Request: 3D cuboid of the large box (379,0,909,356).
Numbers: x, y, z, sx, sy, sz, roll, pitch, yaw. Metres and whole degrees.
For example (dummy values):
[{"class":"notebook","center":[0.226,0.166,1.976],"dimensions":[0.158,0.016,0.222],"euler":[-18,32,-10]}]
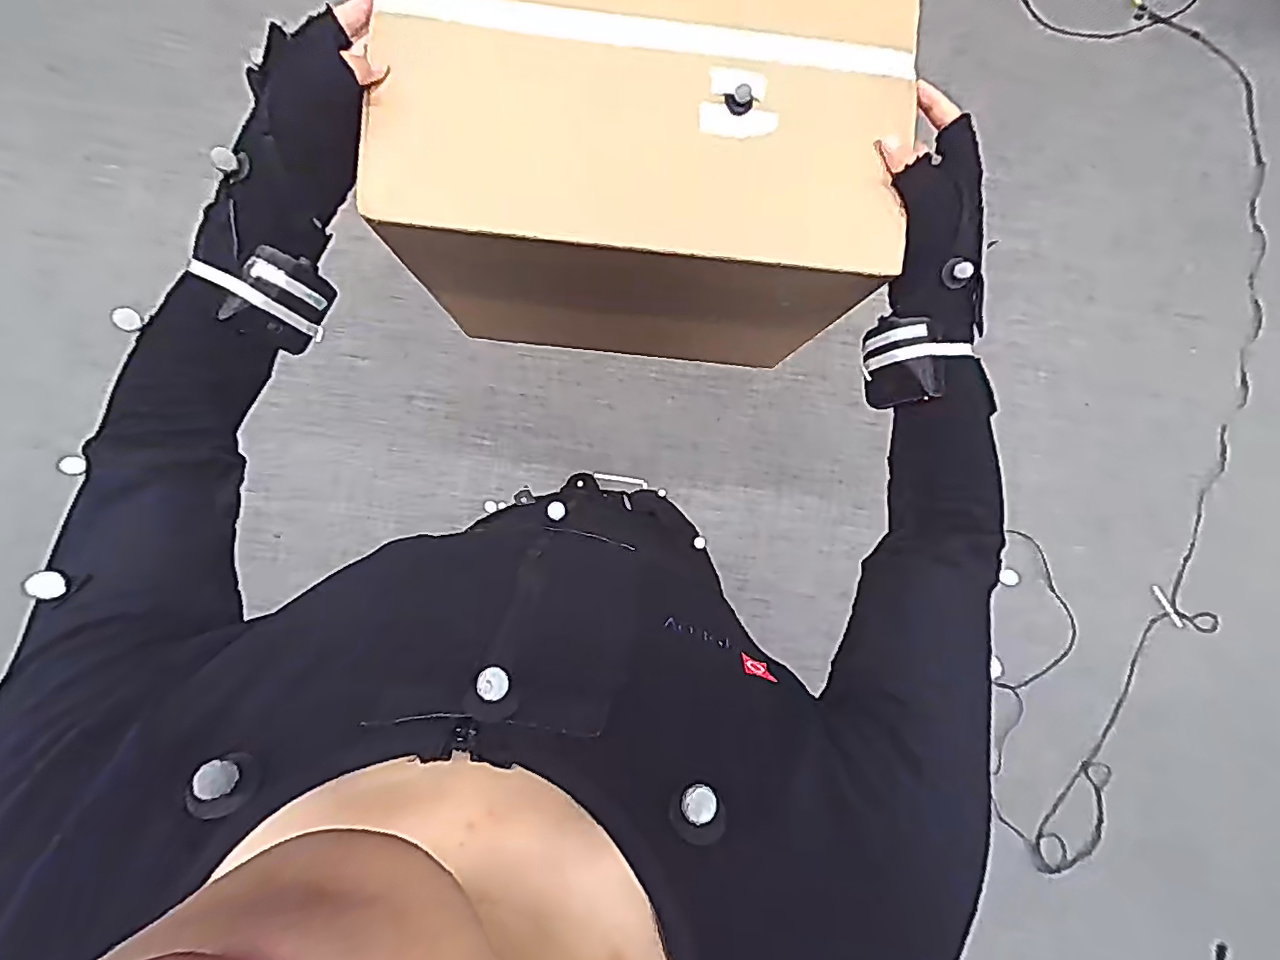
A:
[{"class":"large box","center":[0.000,-0.331,0.565],"dimensions":[0.408,0.320,0.320],"euler":[5,89,-4]}]
